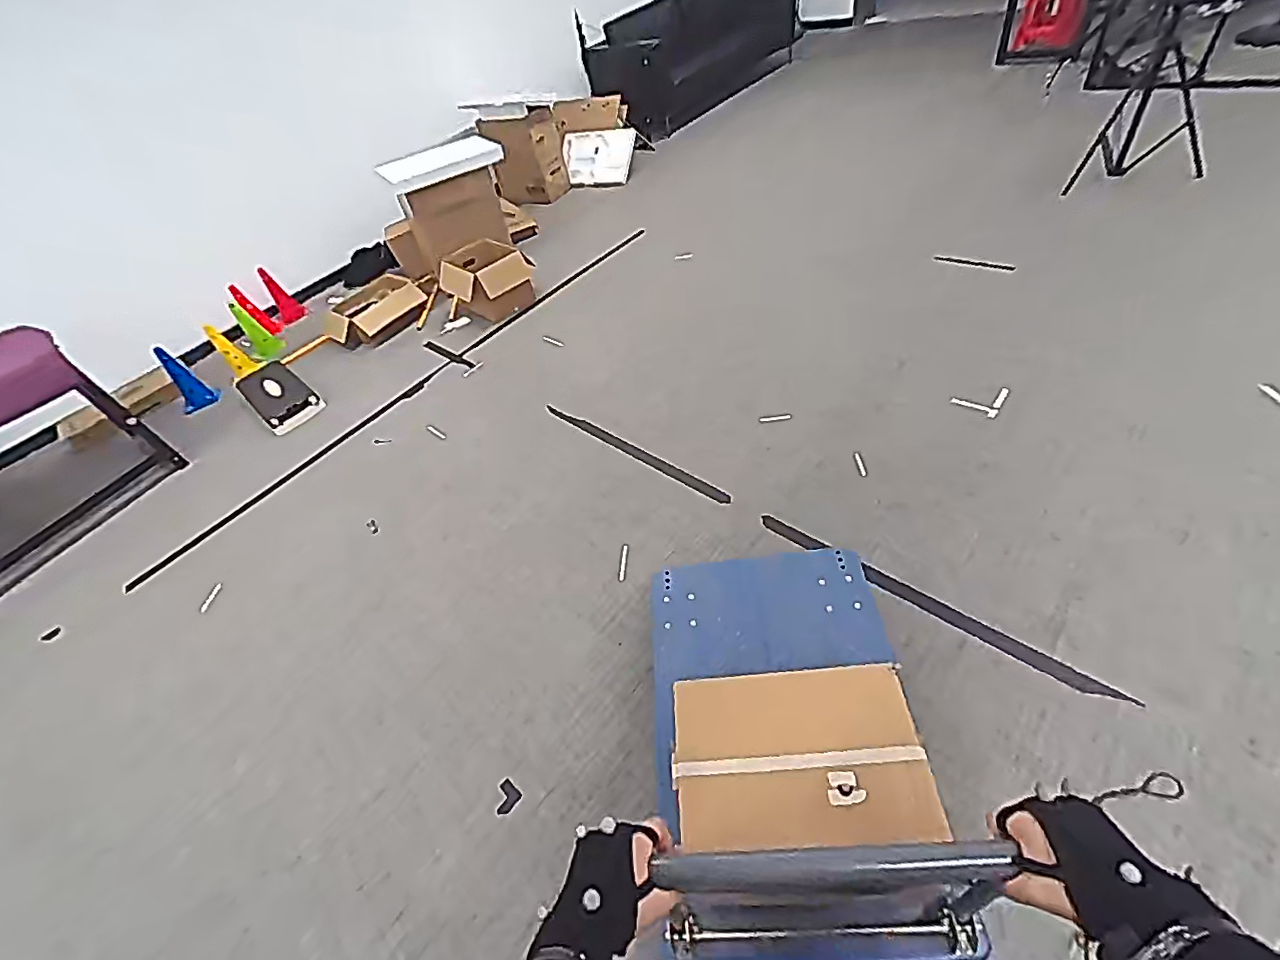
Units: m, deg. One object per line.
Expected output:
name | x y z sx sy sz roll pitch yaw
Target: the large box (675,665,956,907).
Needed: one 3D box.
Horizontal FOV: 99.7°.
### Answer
large box | 0.289 0.577 1.012 0.408 0.320 0.320 -8 46 7
